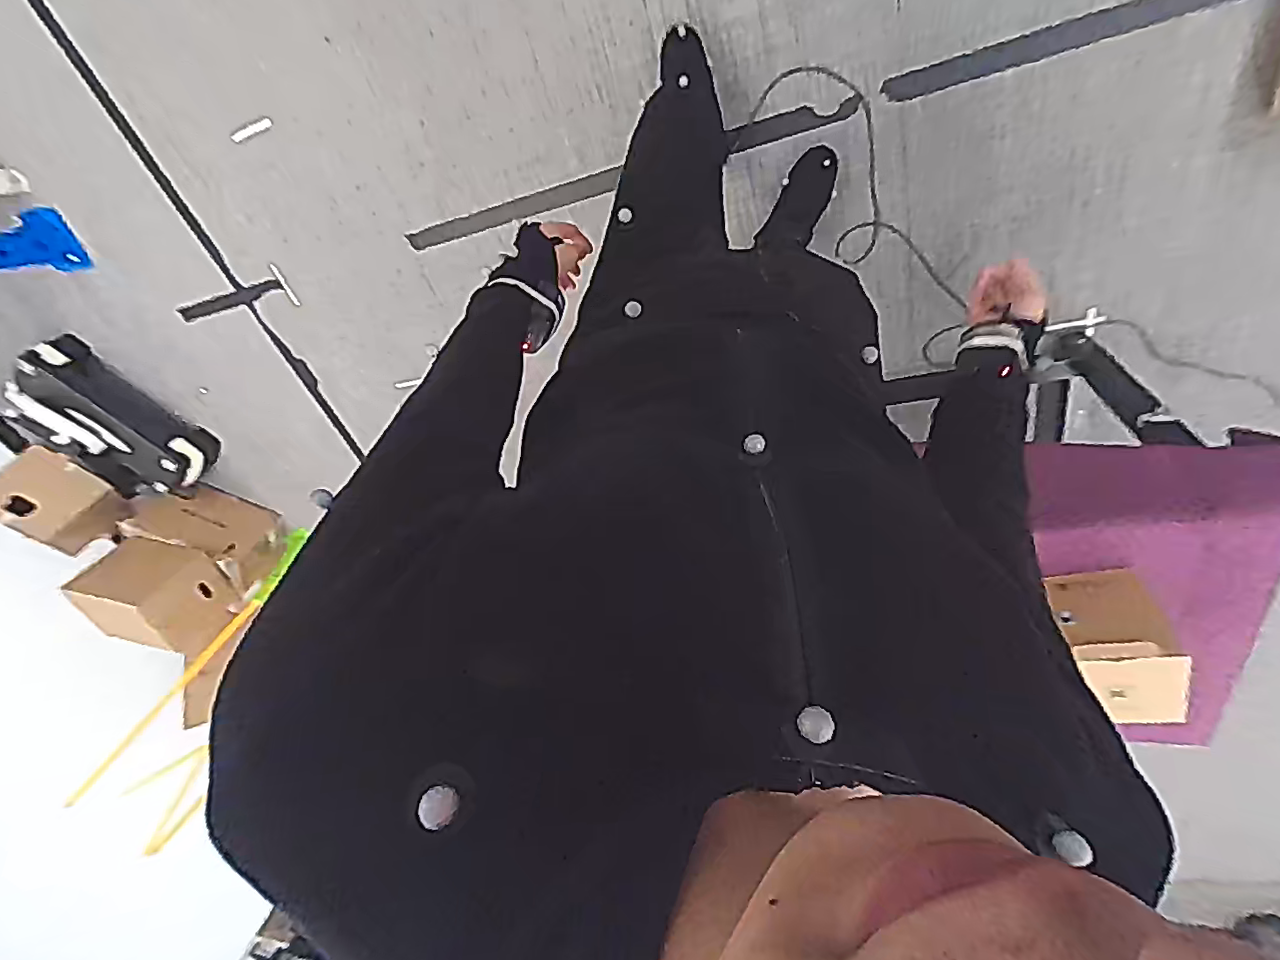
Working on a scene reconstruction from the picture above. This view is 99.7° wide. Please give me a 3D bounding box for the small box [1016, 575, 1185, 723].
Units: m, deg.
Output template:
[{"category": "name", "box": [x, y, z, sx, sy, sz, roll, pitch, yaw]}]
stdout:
[{"category": "small box", "box": [0.739, 0.271, 0.885, 0.168, 0.176, 0.179, -13, 123, 26]}]
